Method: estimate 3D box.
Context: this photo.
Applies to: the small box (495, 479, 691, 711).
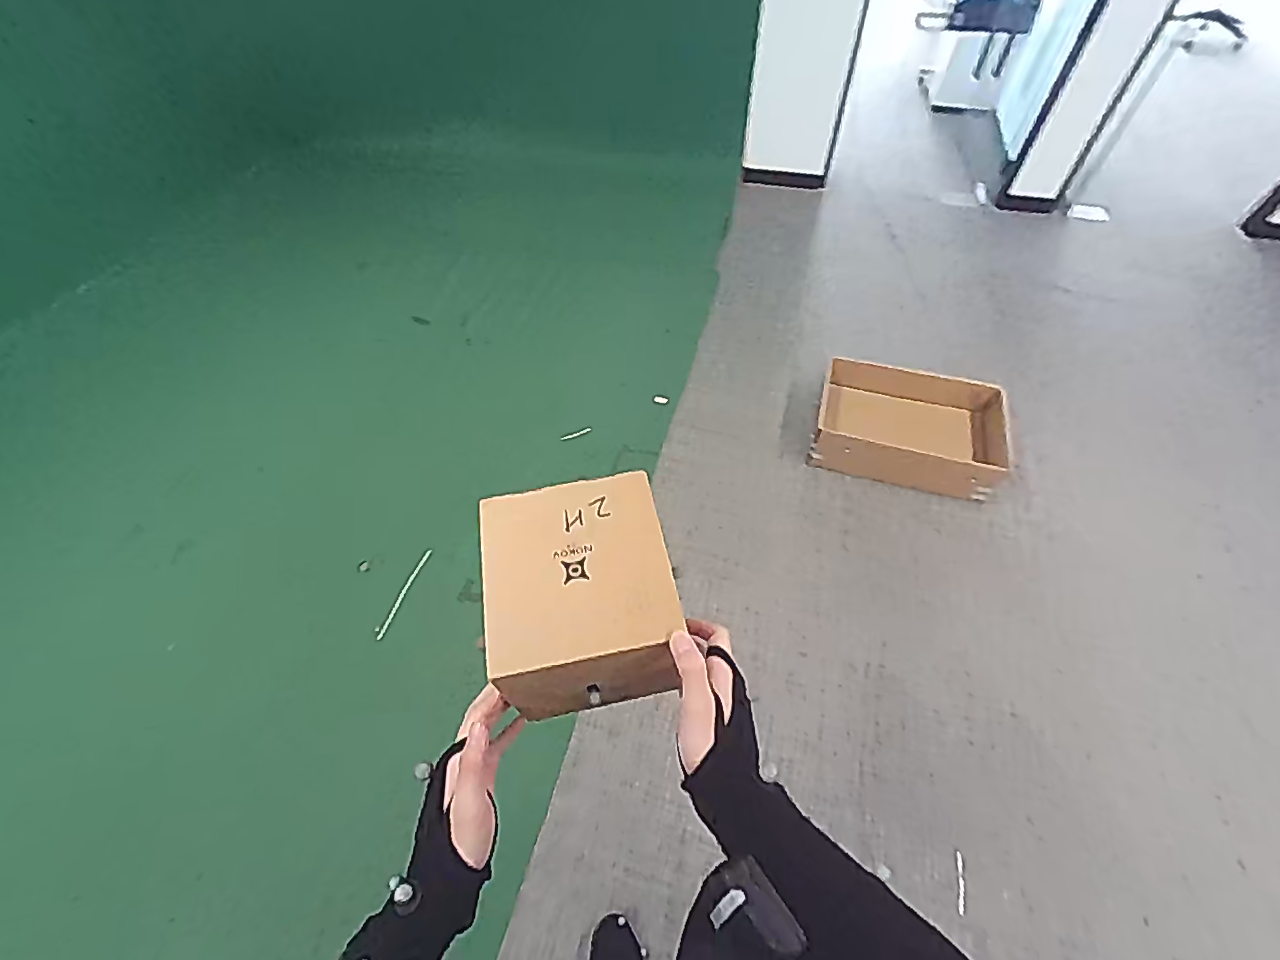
[{"bbox_3d":[-0.047,0.127,0.559,0.168,0.176,0.179,-9,55,-5],"label":"small box"}]
